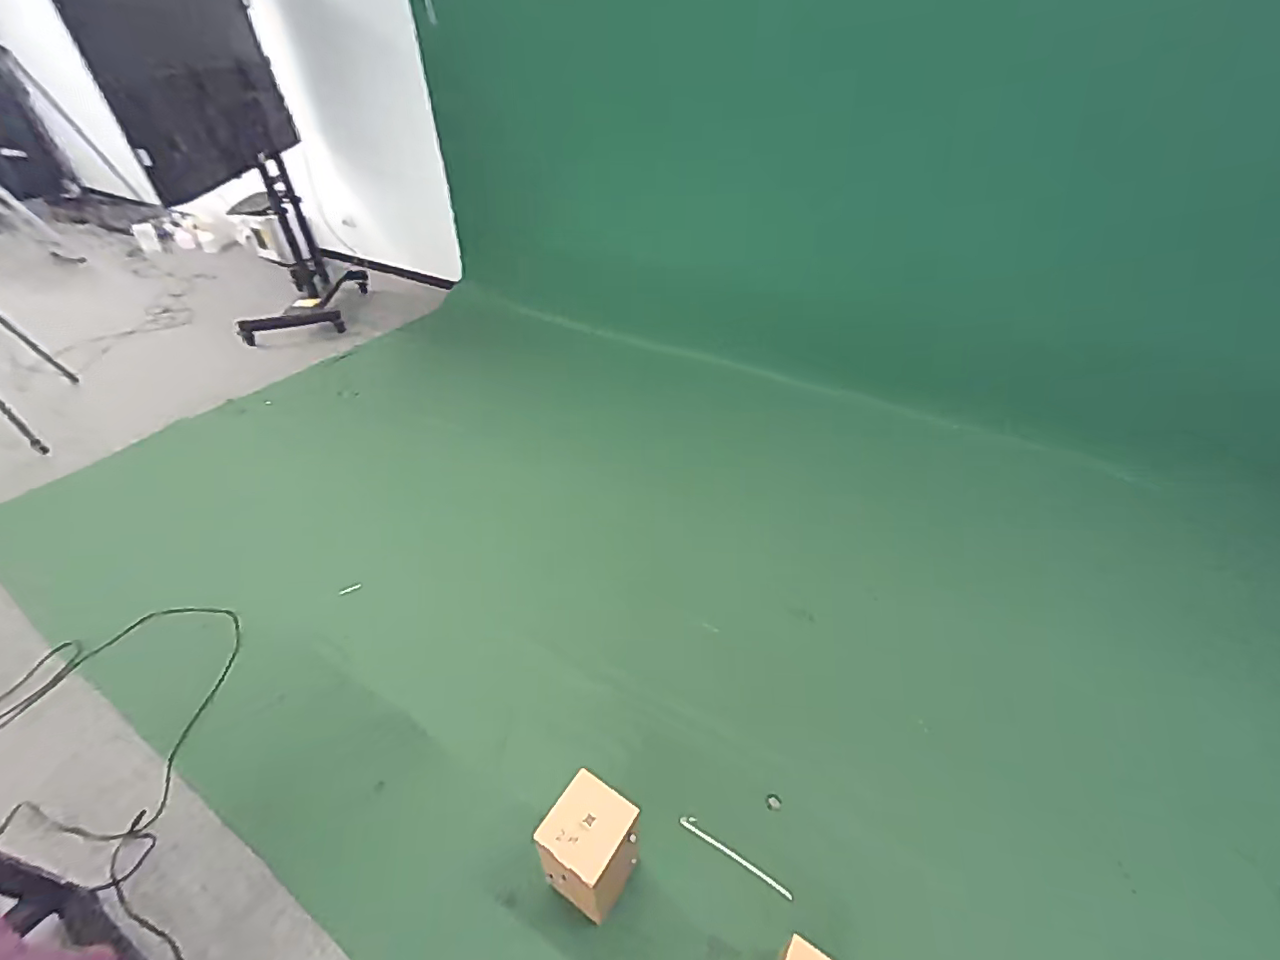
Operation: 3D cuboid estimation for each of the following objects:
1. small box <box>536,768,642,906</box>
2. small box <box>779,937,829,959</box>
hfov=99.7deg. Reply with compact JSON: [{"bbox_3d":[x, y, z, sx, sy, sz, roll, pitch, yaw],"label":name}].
[{"bbox_3d":[-0.111,0.806,1.223,0.168,0.176,0.179,23,45,26],"label":"small box"},{"bbox_3d":[0.354,1.111,1.120,0.168,0.176,0.179,23,46,25],"label":"small box"}]
